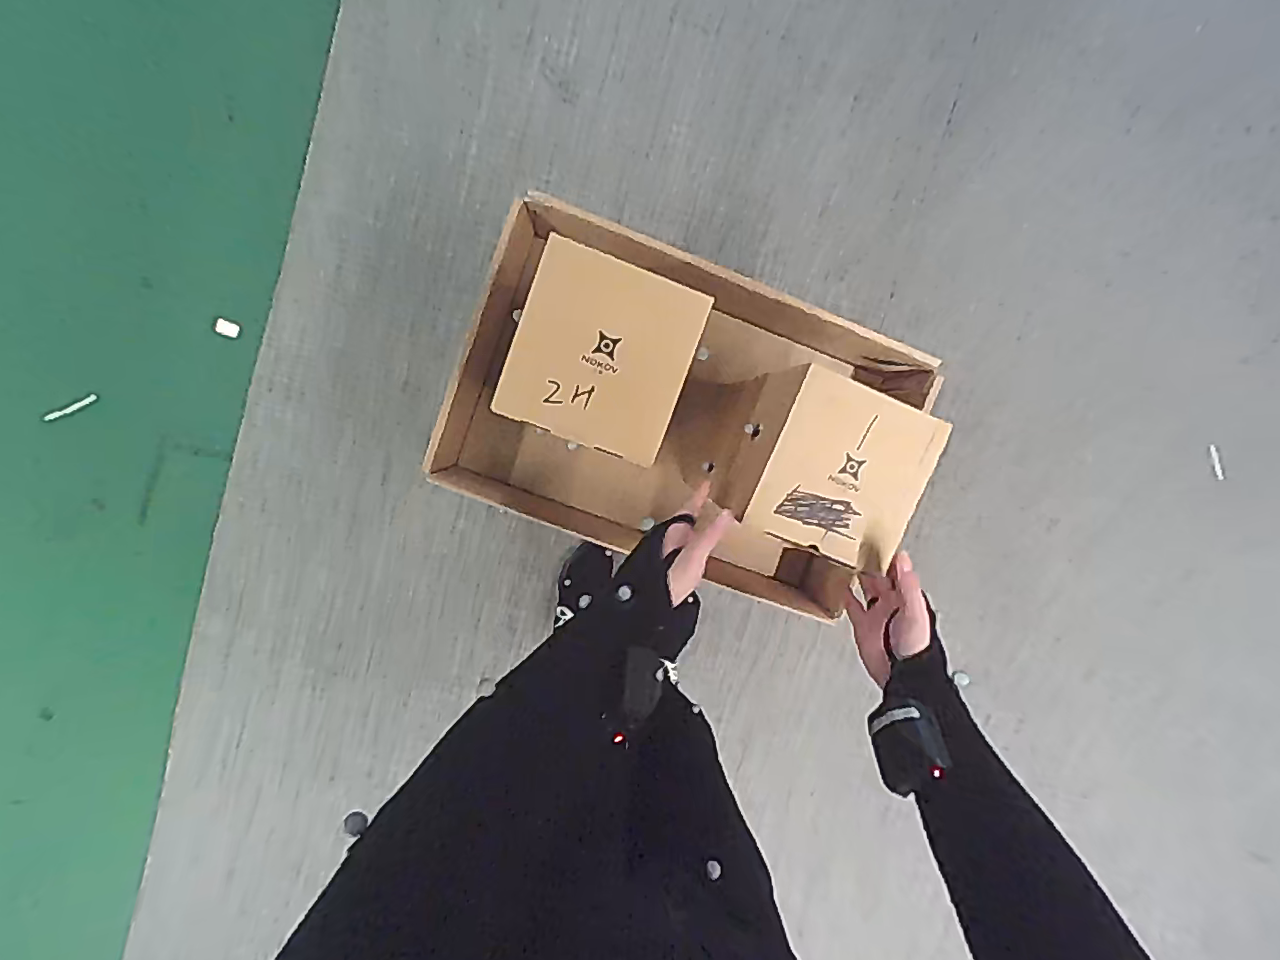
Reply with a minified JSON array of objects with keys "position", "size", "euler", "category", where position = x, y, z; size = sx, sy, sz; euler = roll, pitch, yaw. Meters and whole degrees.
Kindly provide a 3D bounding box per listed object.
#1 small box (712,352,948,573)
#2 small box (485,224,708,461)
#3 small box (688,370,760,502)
[{"position":[0.195,-0.023,0.614],"size":[0.168,0.176,0.179],"euler":[22,94,-7],"category":"small box"},{"position":[-0.047,-0.133,0.583],"size":[0.168,0.176,0.179],"euler":[20,94,-6],"category":"small box"},{"position":[0.181,-0.042,0.778],"size":[0.168,0.176,0.179],"euler":[22,95,-7],"category":"small box"}]
